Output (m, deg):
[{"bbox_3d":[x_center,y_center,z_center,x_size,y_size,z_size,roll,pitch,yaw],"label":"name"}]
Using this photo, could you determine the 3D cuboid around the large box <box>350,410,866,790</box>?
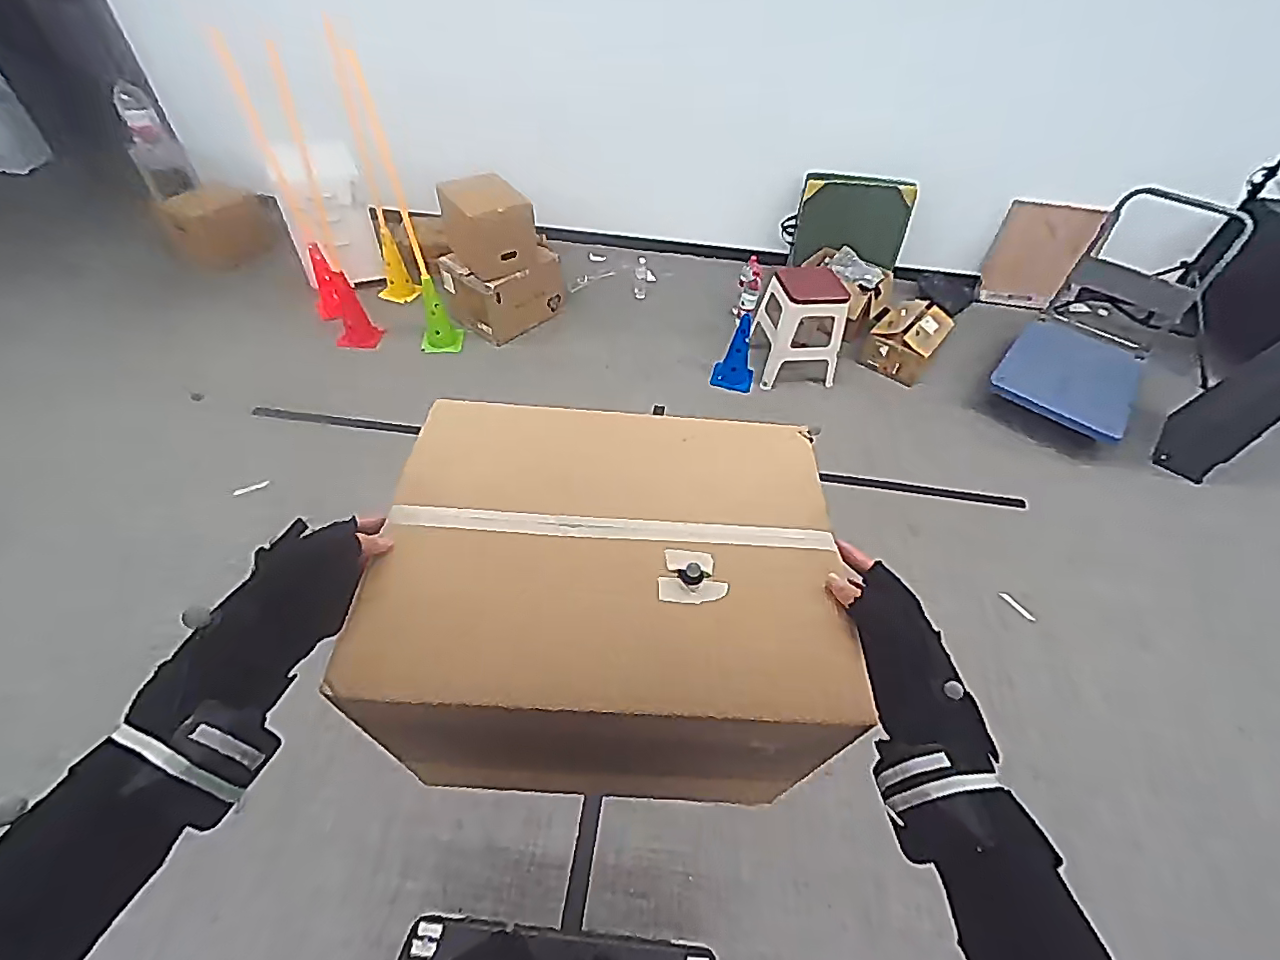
[{"bbox_3d":[-0.031,0.146,0.617,0.408,0.320,0.320,4,51,-2],"label":"large box"}]

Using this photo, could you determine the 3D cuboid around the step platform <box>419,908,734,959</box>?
[{"bbox_3d":[-0.136,1.103,1.124,0.684,0.204,0.286,6,48,0],"label":"step platform"}]
